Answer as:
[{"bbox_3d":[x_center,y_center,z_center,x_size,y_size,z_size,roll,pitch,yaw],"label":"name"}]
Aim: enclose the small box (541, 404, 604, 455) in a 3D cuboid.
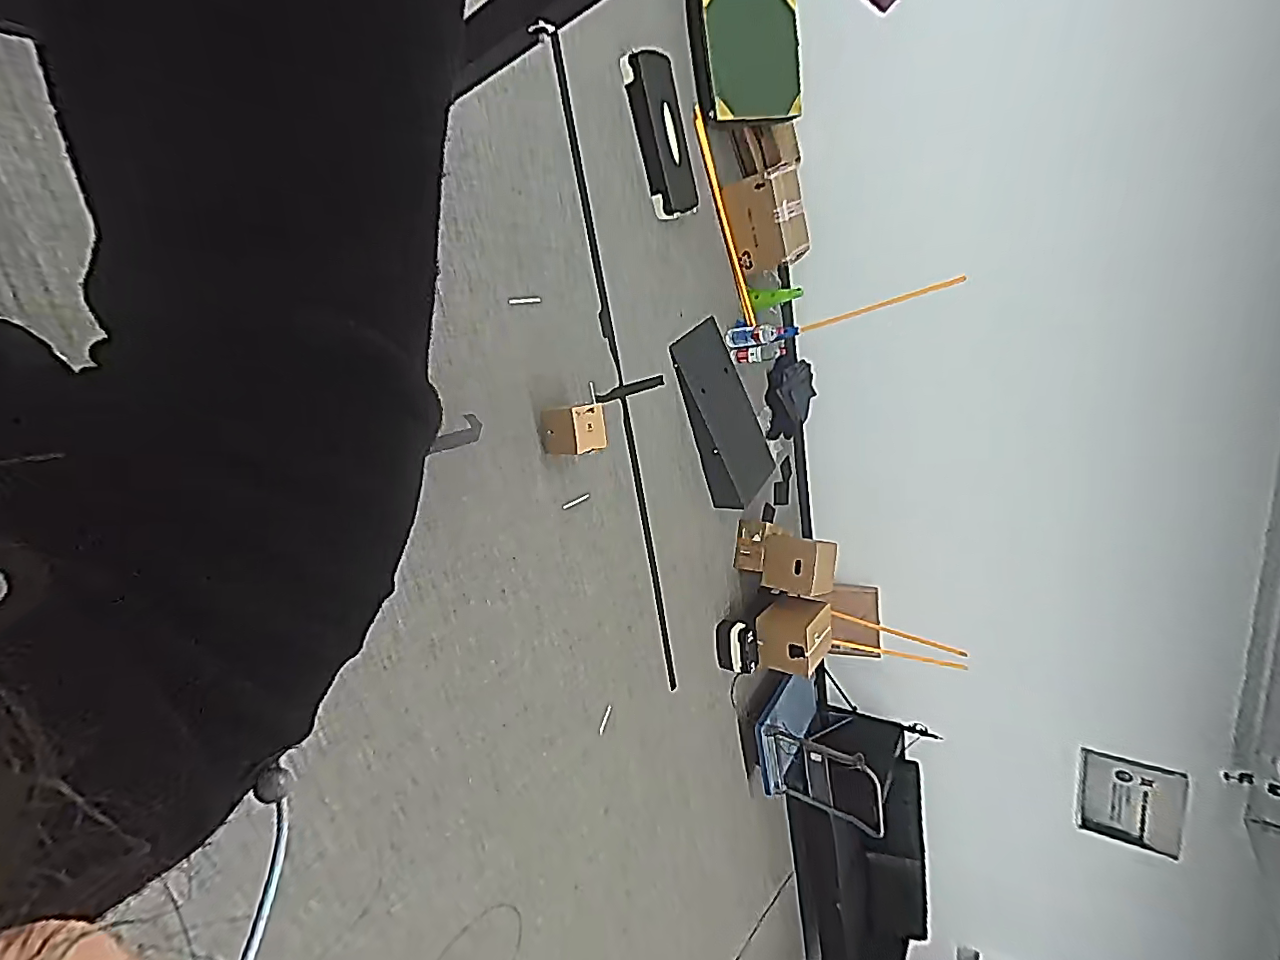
[{"bbox_3d":[-0.259,-0.197,2.072,0.168,0.176,0.179,-20,109,-51],"label":"small box"}]
